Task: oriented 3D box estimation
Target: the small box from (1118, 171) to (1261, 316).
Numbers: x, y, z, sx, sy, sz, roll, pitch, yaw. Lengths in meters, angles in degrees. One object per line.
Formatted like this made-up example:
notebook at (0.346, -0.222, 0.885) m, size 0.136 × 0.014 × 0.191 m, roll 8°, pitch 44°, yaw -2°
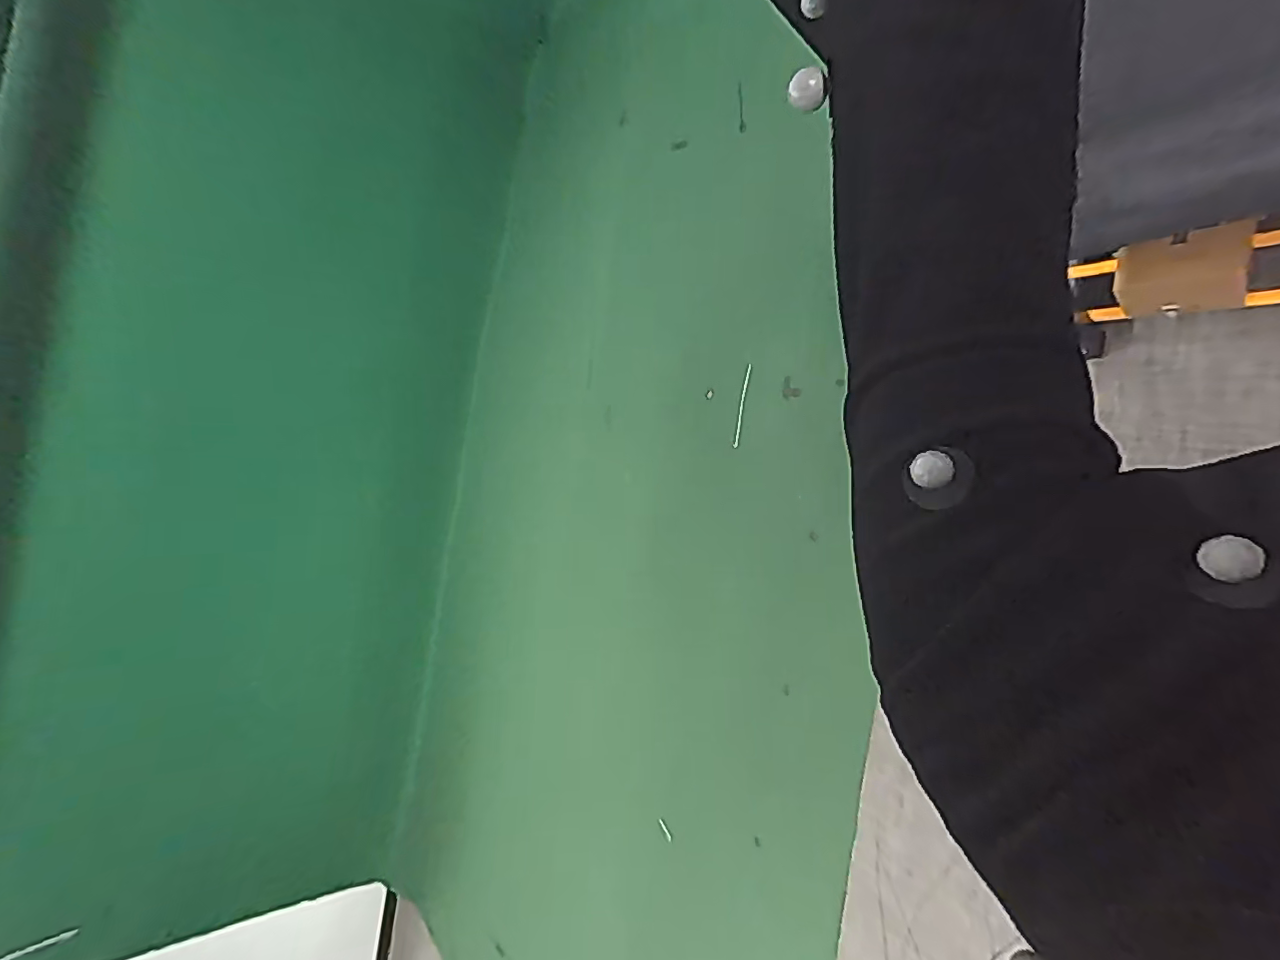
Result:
small box at (1.020, -0.425, 1.005) m, size 0.168 × 0.176 × 0.179 m, roll 7°, pitch 90°, yaw 50°
